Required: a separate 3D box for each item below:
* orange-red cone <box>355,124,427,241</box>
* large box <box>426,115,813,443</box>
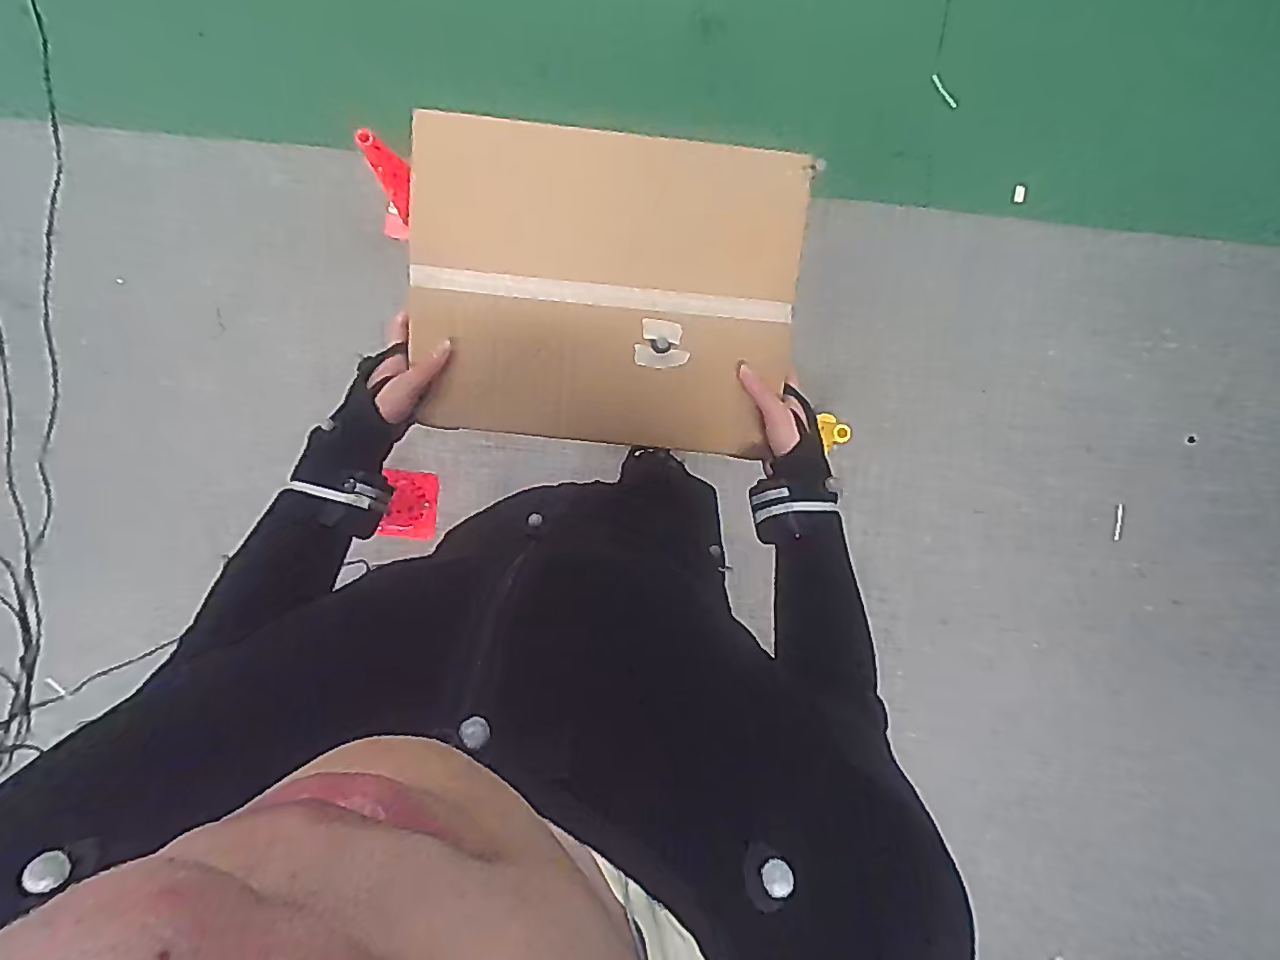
[{"bbox_3d":[-0.635,-0.797,1.406,0.199,0.360,0.198,13,92,0],"label":"orange-red cone"},{"bbox_3d":[-0.034,-0.232,0.725,0.408,0.320,0.320,5,102,-2],"label":"large box"}]
